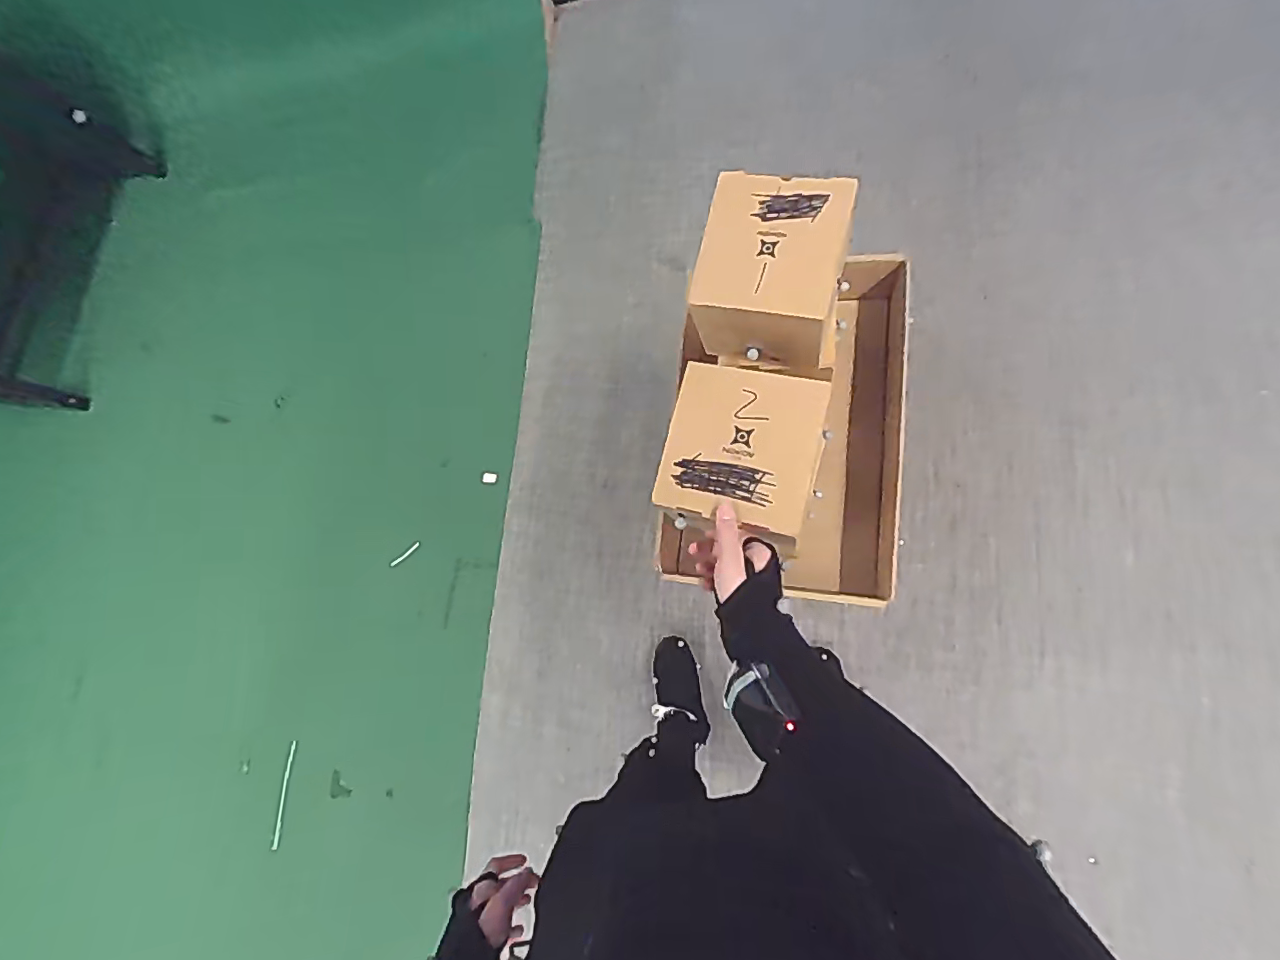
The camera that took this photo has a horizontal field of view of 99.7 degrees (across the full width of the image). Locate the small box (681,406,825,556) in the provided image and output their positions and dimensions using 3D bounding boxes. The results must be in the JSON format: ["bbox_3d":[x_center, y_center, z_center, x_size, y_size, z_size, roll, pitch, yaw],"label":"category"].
[{"bbox_3d":[0.178,0.010,0.828,0.168,0.176,0.179,15,81,18],"label":"small box"}]

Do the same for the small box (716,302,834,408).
[{"bbox_3d":[0.219,-0.227,0.873,0.168,0.176,0.179,3,81,16],"label":"small box"}]

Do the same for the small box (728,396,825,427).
[{"bbox_3d":[0.264,-0.199,1.026,0.168,0.176,0.179,3,80,17],"label":"small box"}]

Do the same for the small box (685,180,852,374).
[{"bbox_3d":[0.171,-0.262,0.720,0.168,0.176,0.179,12,84,18],"label":"small box"}]
